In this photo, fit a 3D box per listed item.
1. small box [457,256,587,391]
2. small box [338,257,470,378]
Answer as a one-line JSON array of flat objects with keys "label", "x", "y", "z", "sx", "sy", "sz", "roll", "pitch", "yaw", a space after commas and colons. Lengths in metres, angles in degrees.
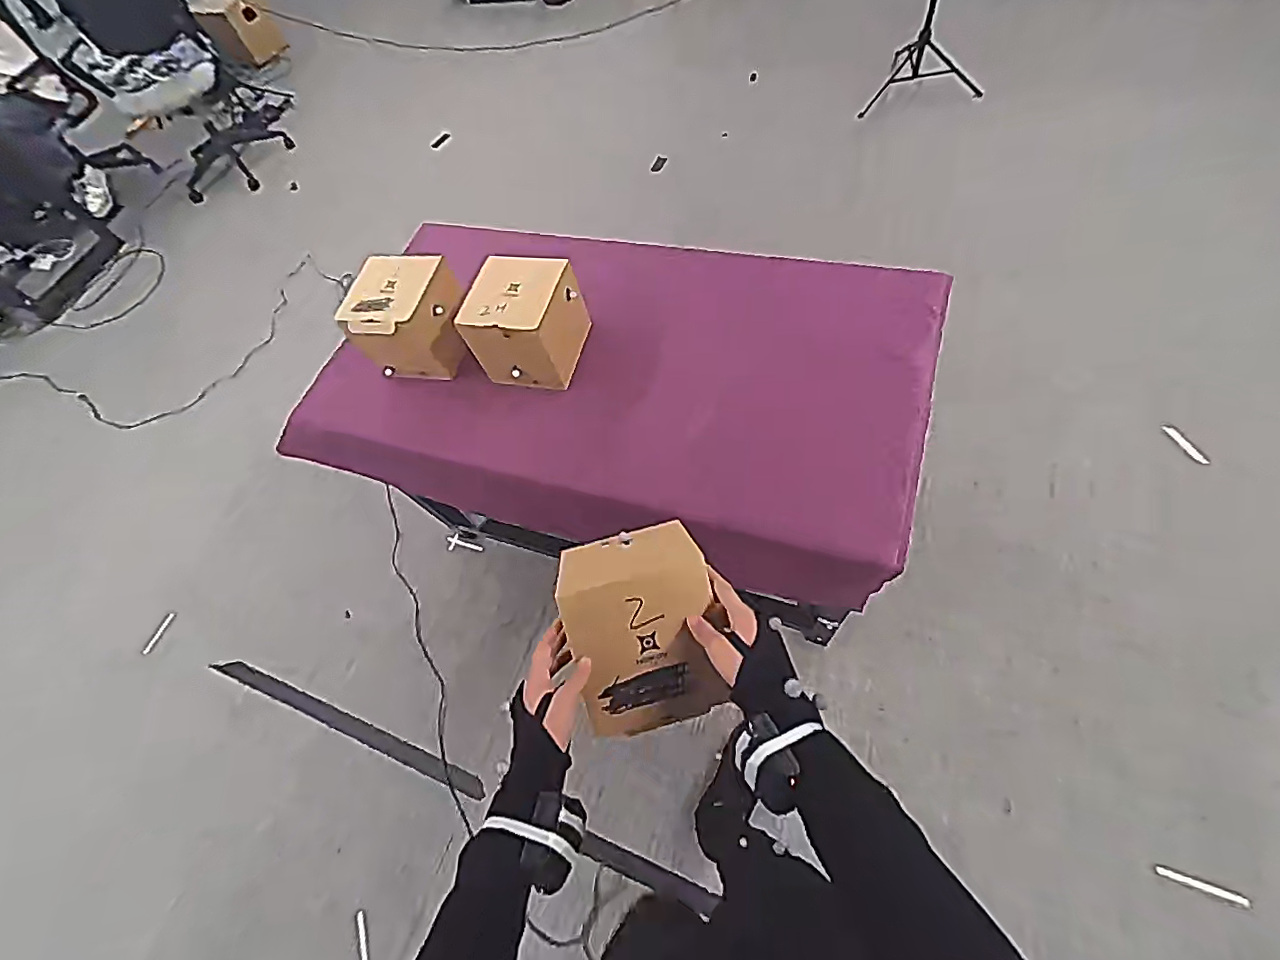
[{"label": "small box", "x": -0.212, "y": -0.297, "z": 1.034, "sx": 0.168, "sy": 0.176, "sz": 0.179, "roll": 9, "pitch": 65, "yaw": 16}, {"label": "small box", "x": -0.459, "y": -0.325, "z": 1.097, "sx": 0.168, "sy": 0.176, "sz": 0.179, "roll": 6, "pitch": 63, "yaw": 14}]
